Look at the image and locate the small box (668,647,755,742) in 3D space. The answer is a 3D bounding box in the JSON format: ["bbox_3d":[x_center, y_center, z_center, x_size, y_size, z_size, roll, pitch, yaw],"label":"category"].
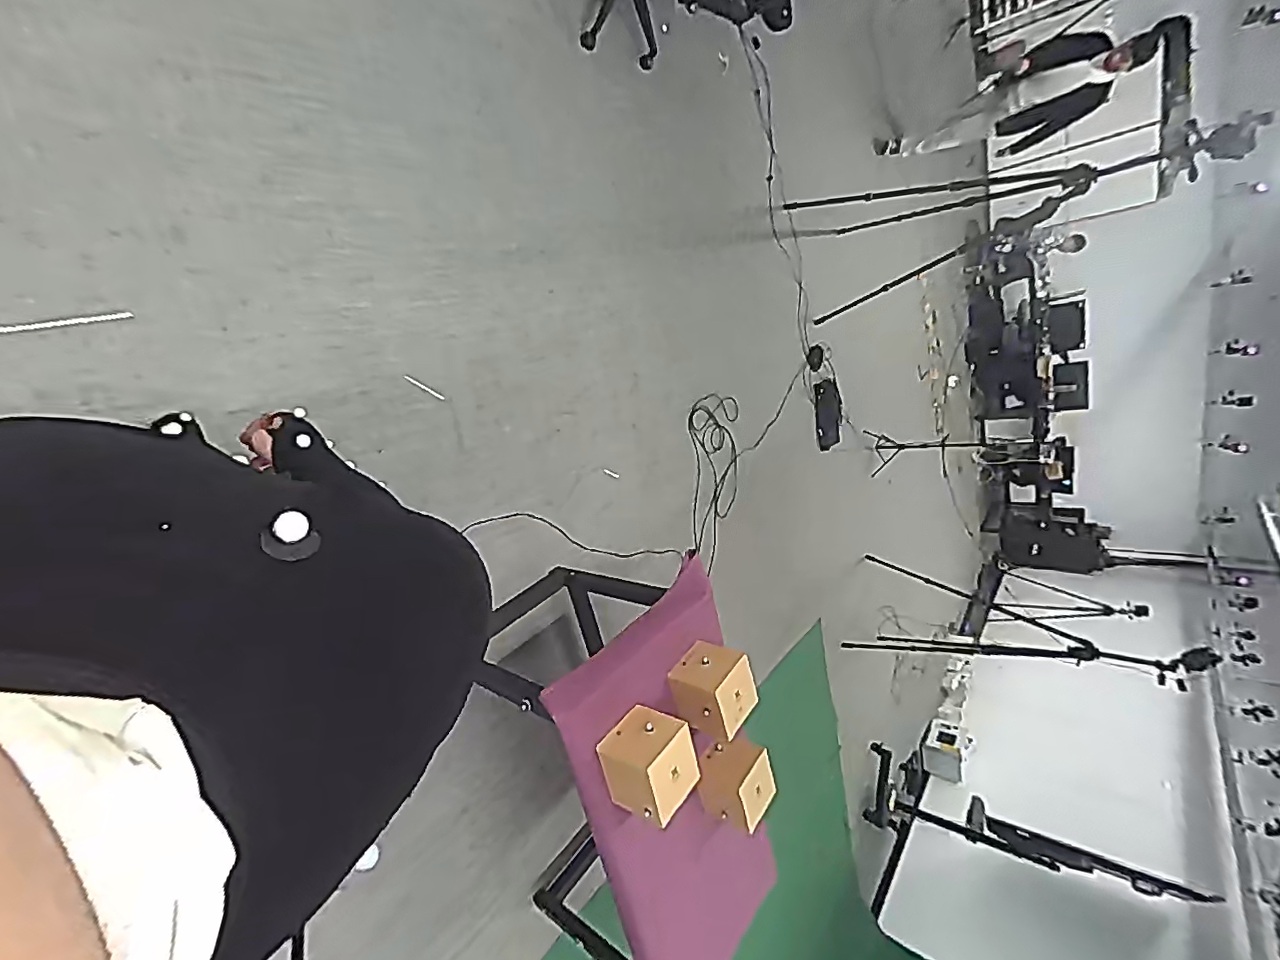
[{"bbox_3d":[0.199,0.596,1.533,0.168,0.176,0.179,-33,115,-42],"label":"small box"}]

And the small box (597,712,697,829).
[{"bbox_3d":[0.016,0.700,1.333,0.168,0.176,0.179,-30,113,-45],"label":"small box"}]

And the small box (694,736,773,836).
[{"bbox_3d":[0.276,0.911,1.629,0.168,0.176,0.179,-31,113,-43],"label":"small box"}]
